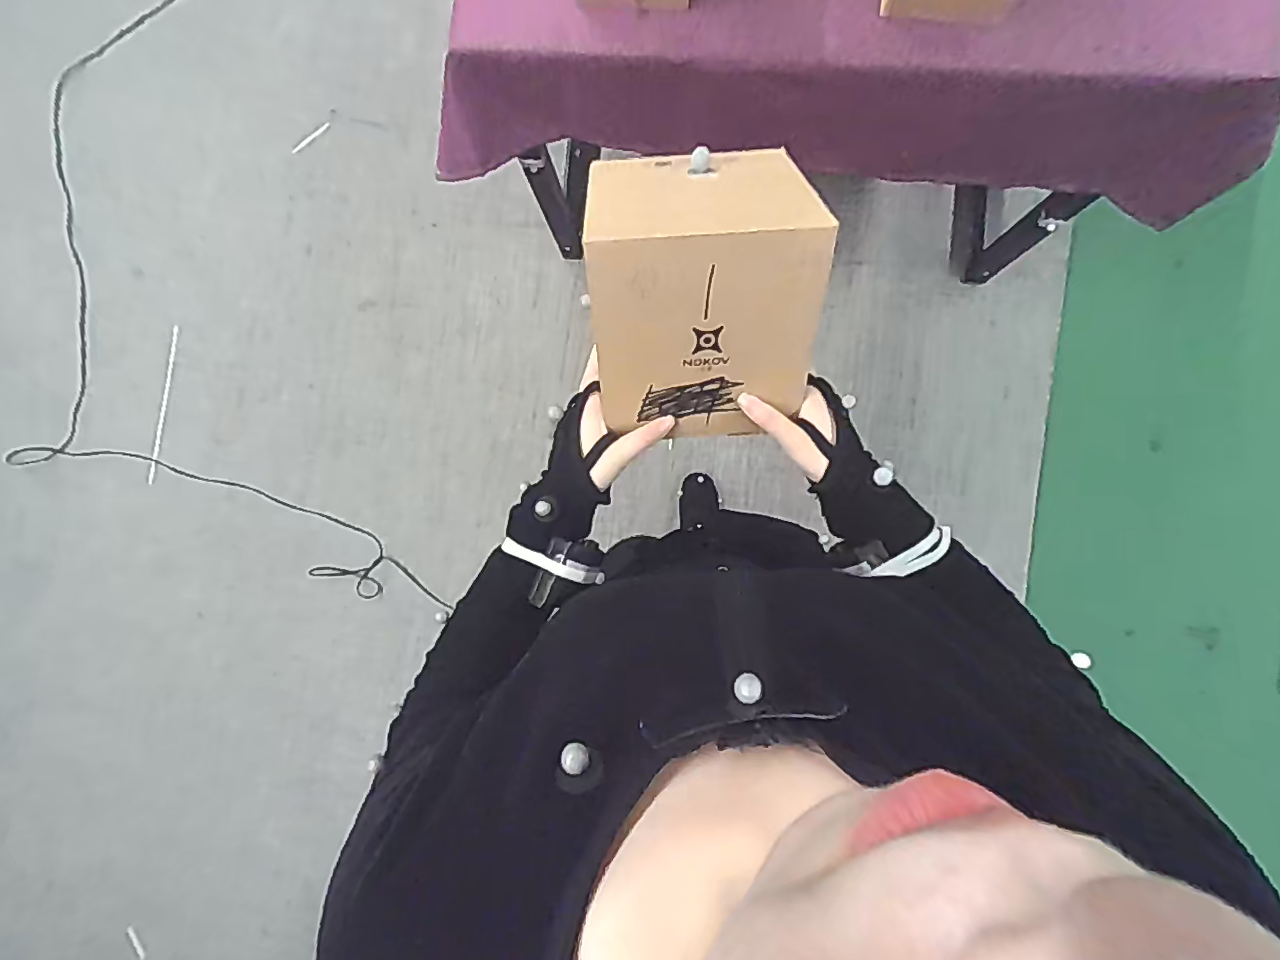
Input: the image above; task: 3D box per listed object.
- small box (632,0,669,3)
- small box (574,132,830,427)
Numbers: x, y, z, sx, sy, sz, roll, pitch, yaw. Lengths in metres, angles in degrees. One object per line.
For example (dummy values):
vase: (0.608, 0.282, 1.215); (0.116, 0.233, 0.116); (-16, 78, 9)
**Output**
small box: (-0.011, -0.806, 0.739); (0.179, 0.176, 0.168); (7, 87, 4)
small box: (0.041, -0.166, 0.455); (0.168, 0.179, 0.176); (-3, 46, 1)
